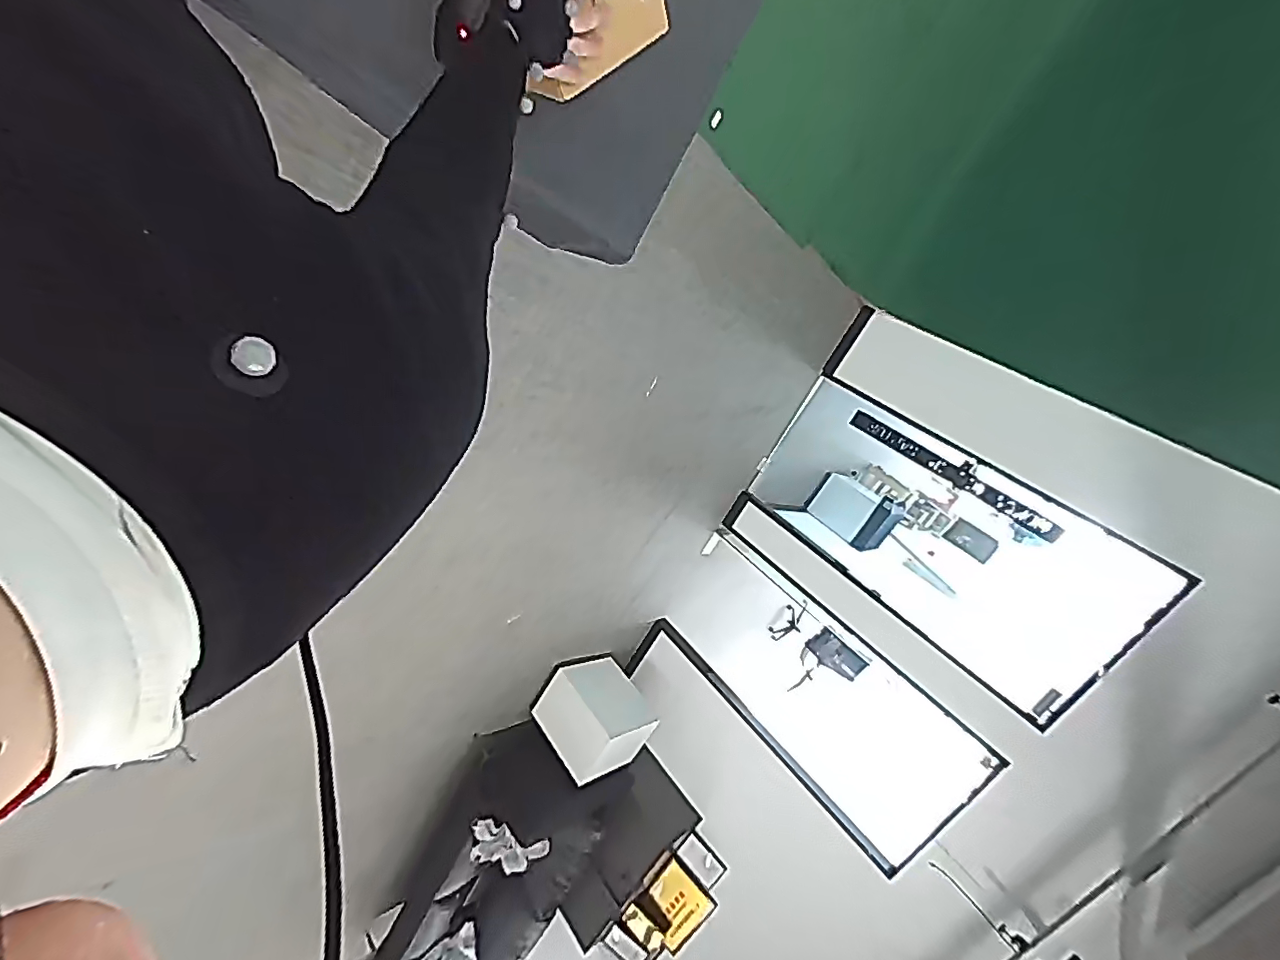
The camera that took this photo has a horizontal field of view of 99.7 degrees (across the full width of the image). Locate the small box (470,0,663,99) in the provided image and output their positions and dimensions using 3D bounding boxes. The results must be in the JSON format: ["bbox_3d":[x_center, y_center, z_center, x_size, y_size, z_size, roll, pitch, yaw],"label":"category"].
[{"bbox_3d":[-0.103,-0.598,0.646,0.179,0.176,0.168,-40,147,-10],"label":"small box"}]
